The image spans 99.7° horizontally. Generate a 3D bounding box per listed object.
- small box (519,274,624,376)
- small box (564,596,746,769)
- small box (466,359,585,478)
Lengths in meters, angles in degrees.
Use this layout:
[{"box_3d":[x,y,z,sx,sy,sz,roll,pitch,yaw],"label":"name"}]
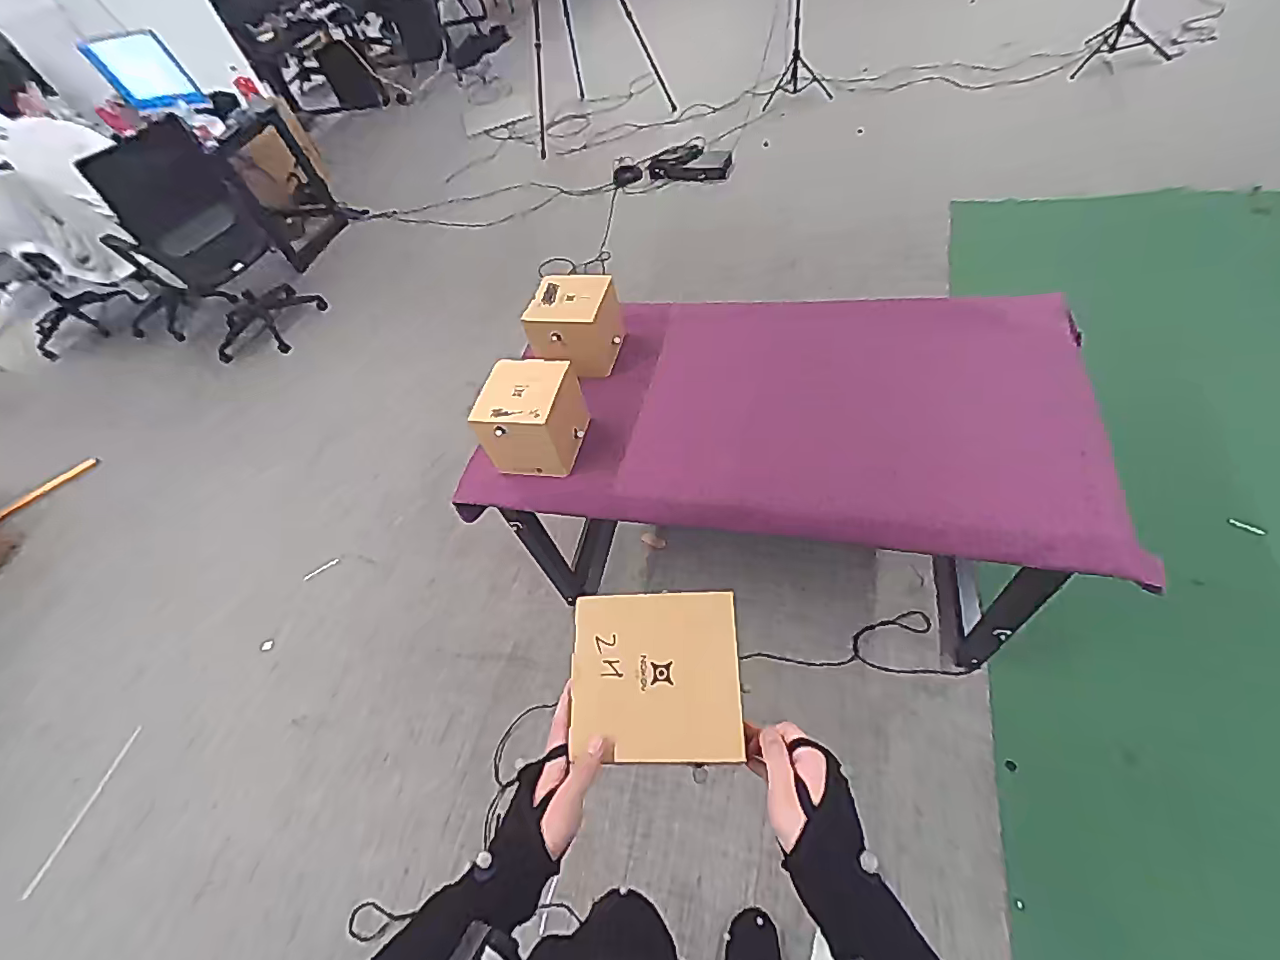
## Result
[{"box_3d":[-0.153,-0.362,1.273,0.179,0.176,0.168,6,57,16],"label":"small box"},{"box_3d":[0.023,0.235,0.618,0.179,0.176,0.168,-3,62,7],"label":"small box"},{"box_3d":[-0.223,-0.127,1.117,0.168,0.176,0.179,4,54,16],"label":"small box"}]
